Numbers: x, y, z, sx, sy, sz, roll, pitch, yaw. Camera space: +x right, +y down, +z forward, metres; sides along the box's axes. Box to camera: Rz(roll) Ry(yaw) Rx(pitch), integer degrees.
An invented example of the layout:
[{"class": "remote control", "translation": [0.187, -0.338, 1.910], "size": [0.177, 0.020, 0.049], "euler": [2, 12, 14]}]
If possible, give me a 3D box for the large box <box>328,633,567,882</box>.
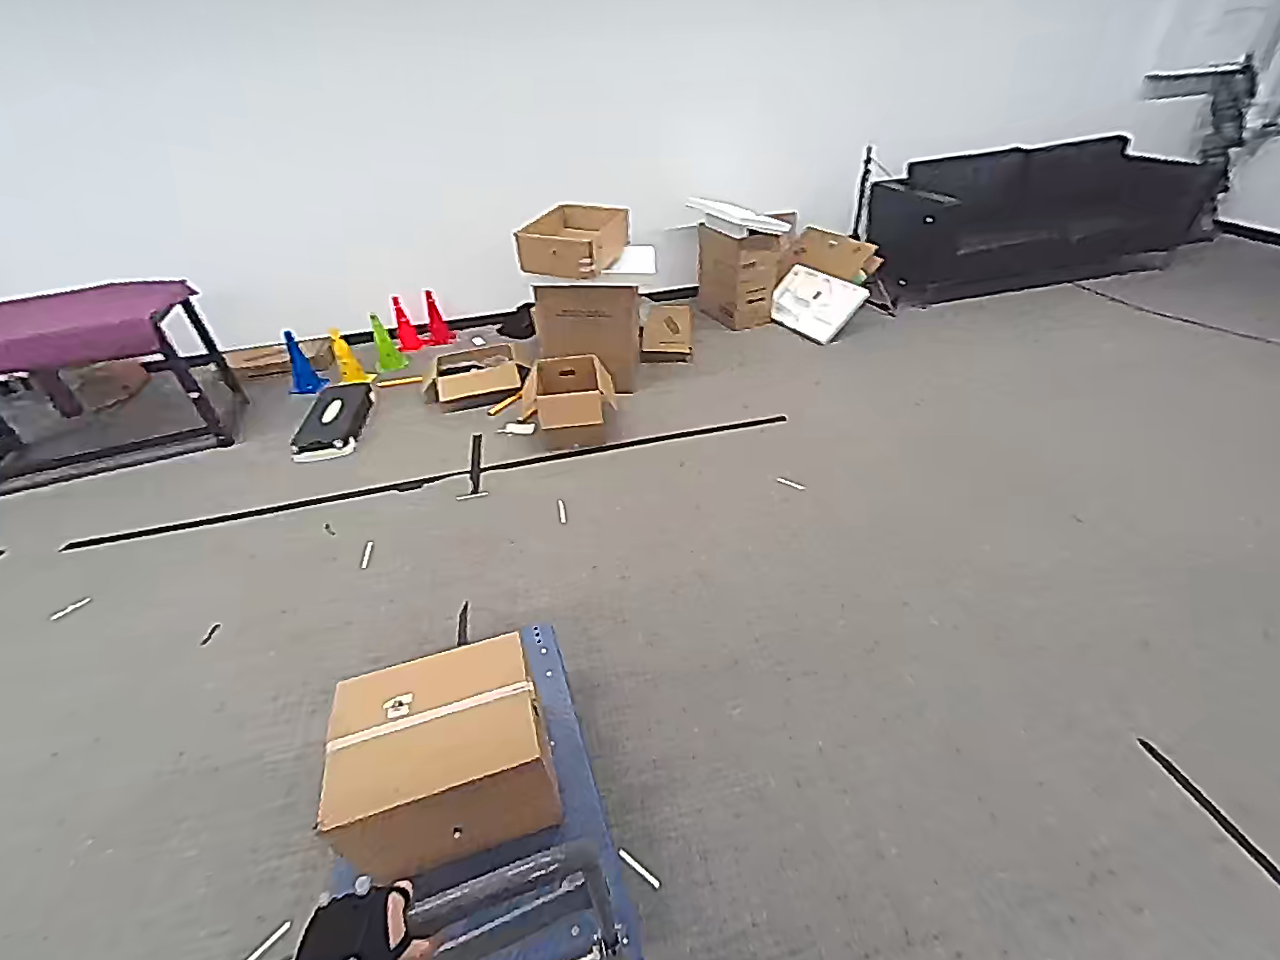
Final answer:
[{"class": "large box", "translation": [-0.409, 0.614, 1.217], "size": [0.408, 0.320, 0.320], "euler": [-15, 38, -11]}]
